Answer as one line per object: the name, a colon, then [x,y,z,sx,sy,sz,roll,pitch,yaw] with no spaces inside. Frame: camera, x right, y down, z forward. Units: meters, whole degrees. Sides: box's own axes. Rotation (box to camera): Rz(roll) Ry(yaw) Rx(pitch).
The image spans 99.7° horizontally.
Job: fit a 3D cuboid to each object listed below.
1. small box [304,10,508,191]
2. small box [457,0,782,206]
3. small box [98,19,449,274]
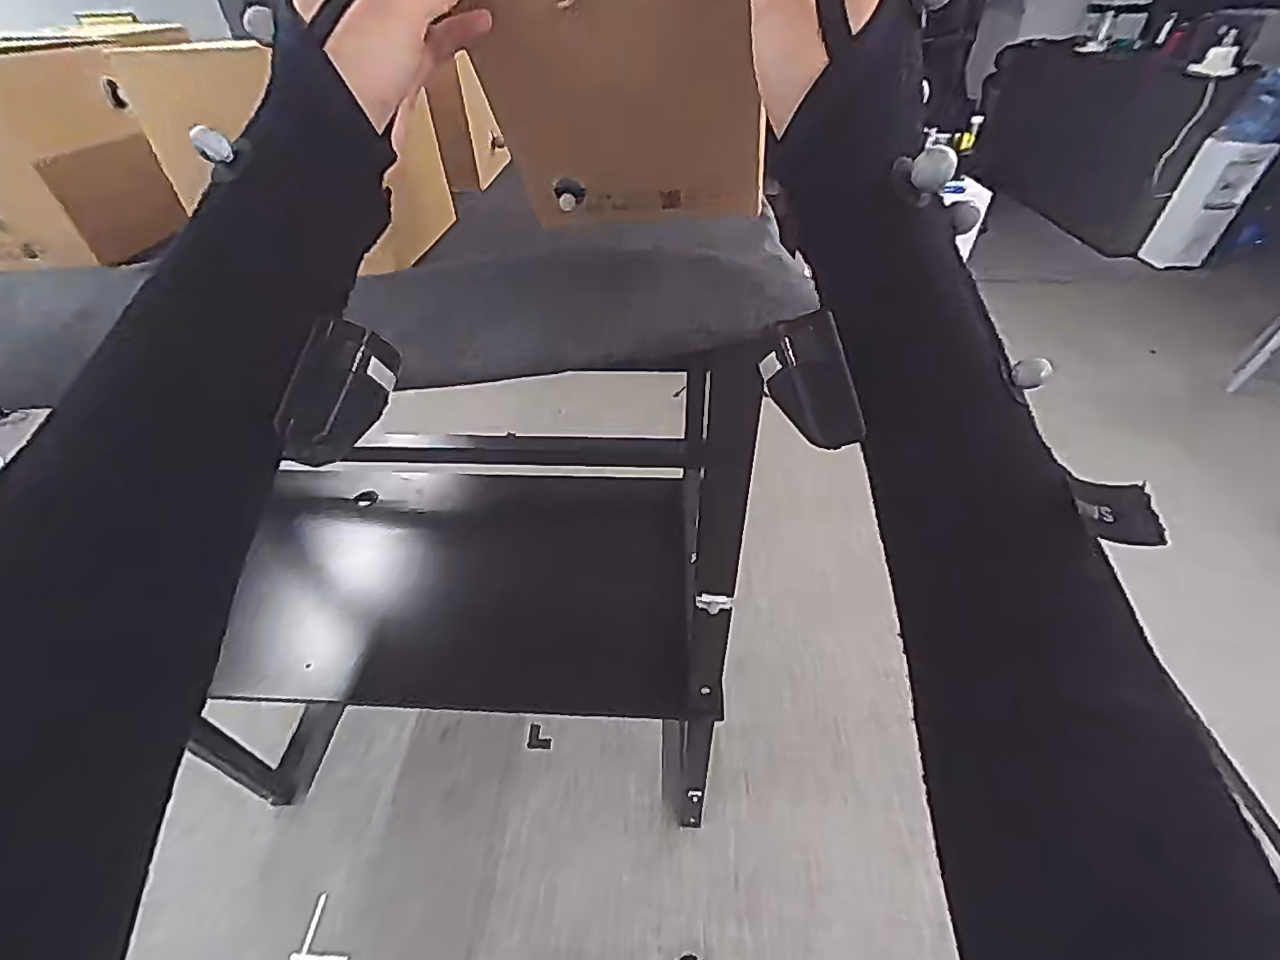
small box: [-0.274,-0.482,0.685,0.168,0.176,0.179,0,43,3]
small box: [0.005,-0.300,0.345,0.168,0.176,0.179,3,67,11]
small box: [-0.288,-0.294,0.482,0.168,0.176,0.179,0,41,2]
